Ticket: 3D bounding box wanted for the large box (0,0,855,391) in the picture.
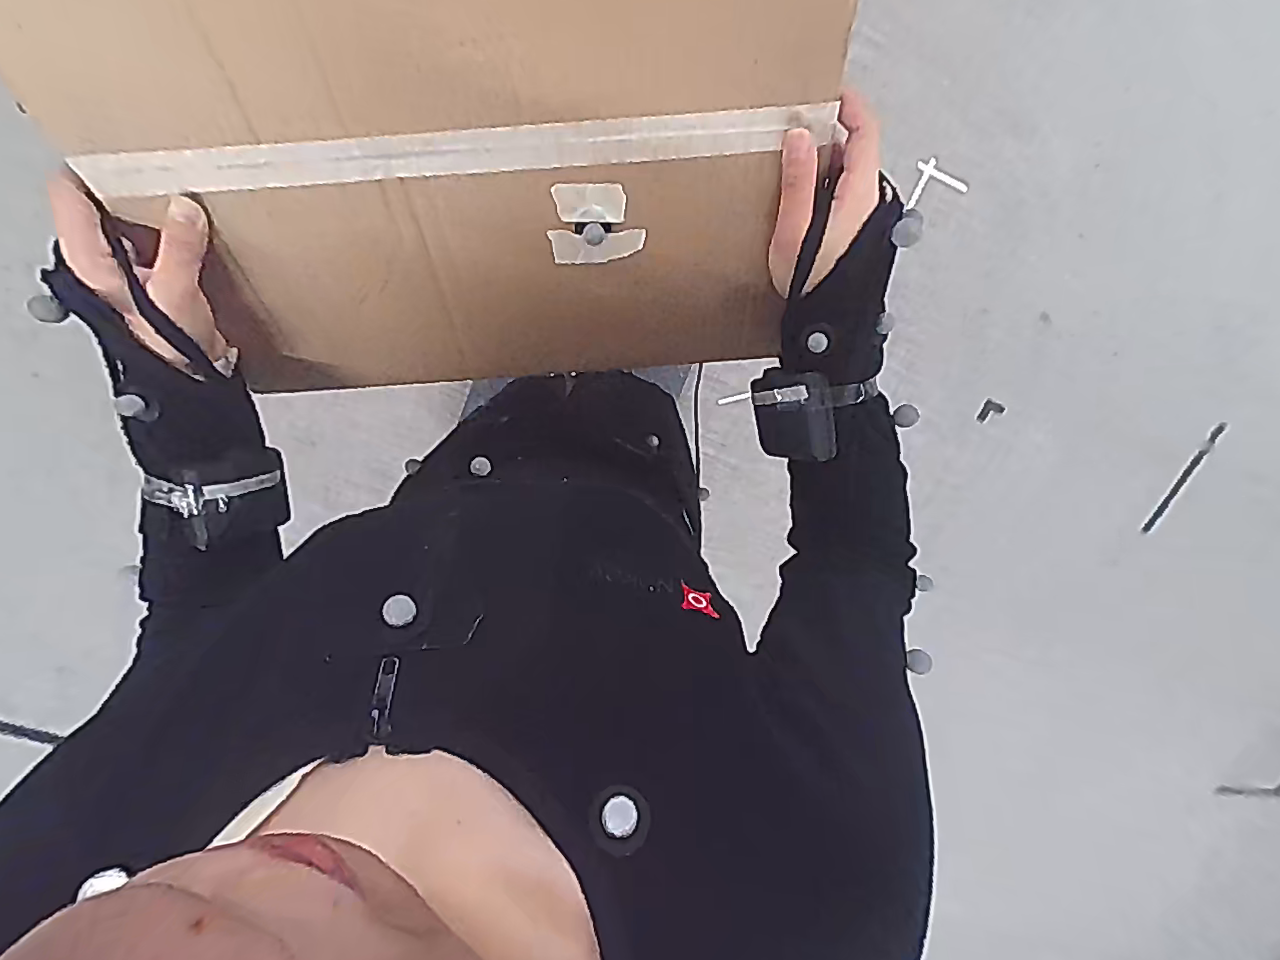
[{"bbox_3d":[-0.104,-0.297,0.400,0.408,0.320,0.320,-5,141,-2],"label":"large box"}]
